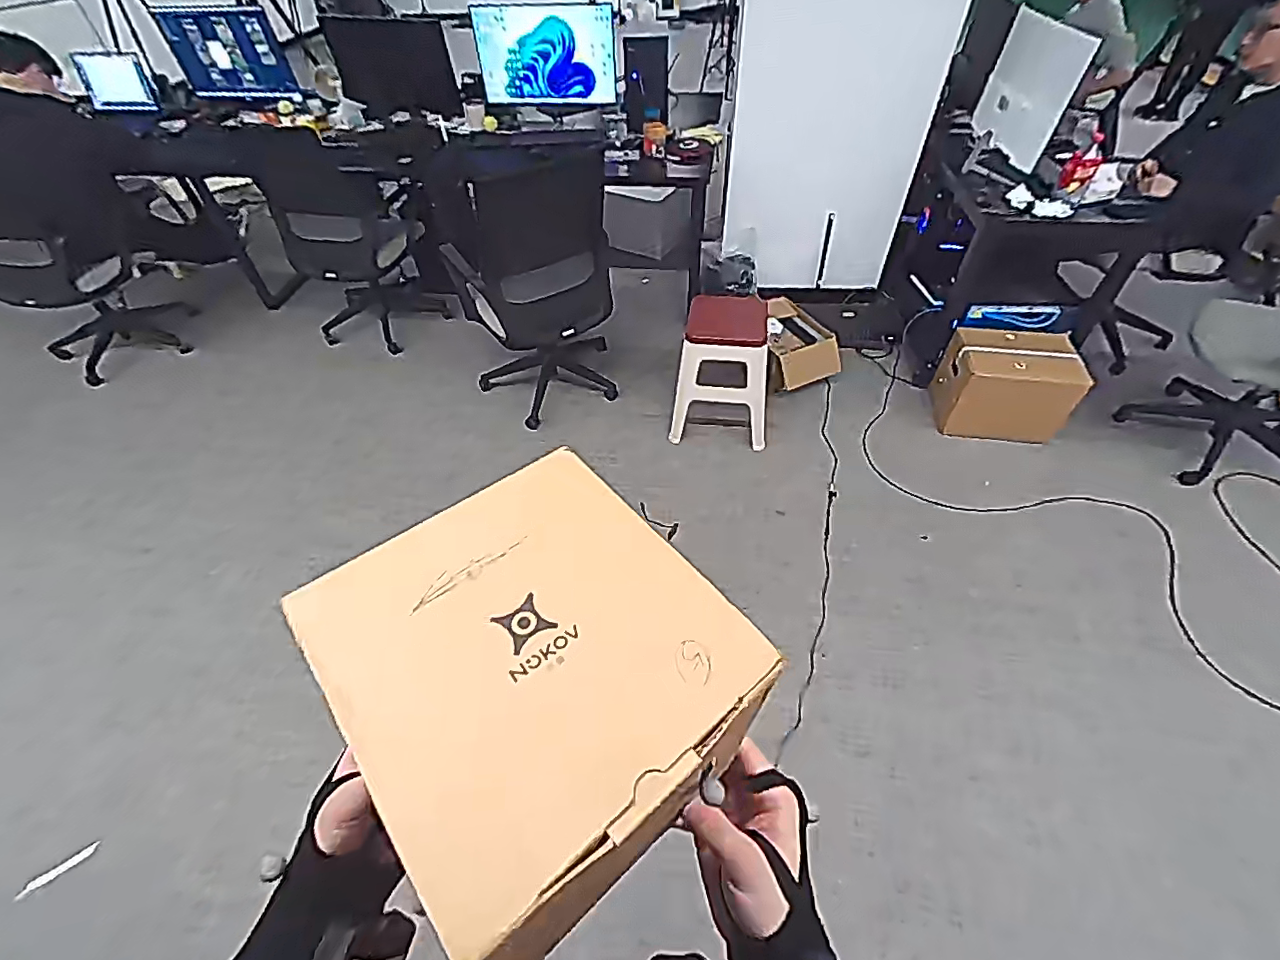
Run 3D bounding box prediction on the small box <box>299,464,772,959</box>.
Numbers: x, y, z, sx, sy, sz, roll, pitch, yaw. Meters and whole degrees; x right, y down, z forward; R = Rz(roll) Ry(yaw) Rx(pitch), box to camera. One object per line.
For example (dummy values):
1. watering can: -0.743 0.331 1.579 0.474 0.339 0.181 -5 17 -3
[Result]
1. small box: -0.054 0.129 0.321 0.168 0.176 0.179 -33 57 -28
